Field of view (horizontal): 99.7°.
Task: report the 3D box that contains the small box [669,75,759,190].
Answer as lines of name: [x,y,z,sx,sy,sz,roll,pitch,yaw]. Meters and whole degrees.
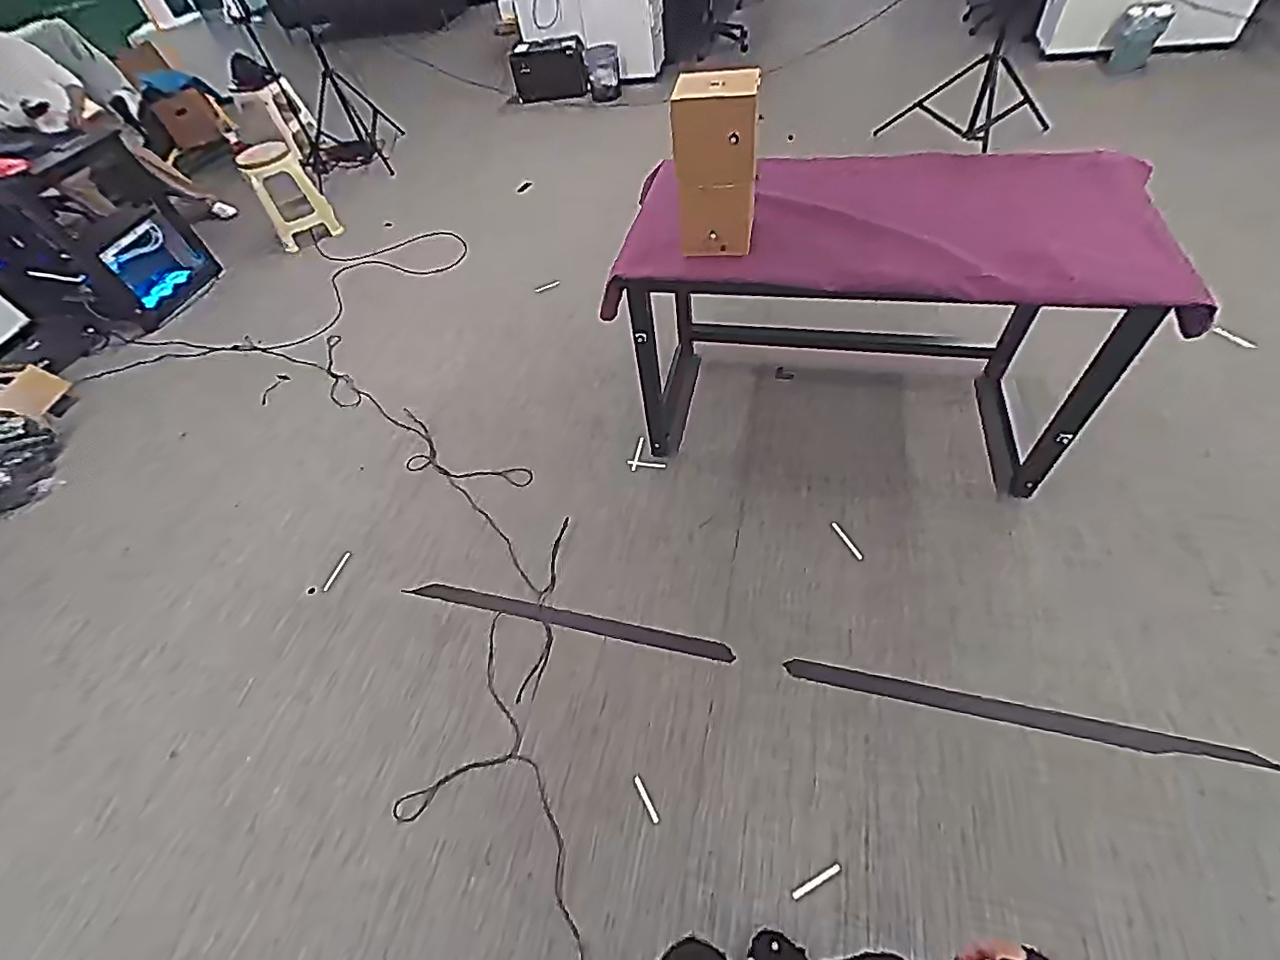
small box: [0.166,-0.761,1.192,0.179,0.176,0.168,4,51,12]

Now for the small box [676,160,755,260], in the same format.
small box: [0.186,-0.661,1.317,0.168,0.176,0.179,5,53,13]
